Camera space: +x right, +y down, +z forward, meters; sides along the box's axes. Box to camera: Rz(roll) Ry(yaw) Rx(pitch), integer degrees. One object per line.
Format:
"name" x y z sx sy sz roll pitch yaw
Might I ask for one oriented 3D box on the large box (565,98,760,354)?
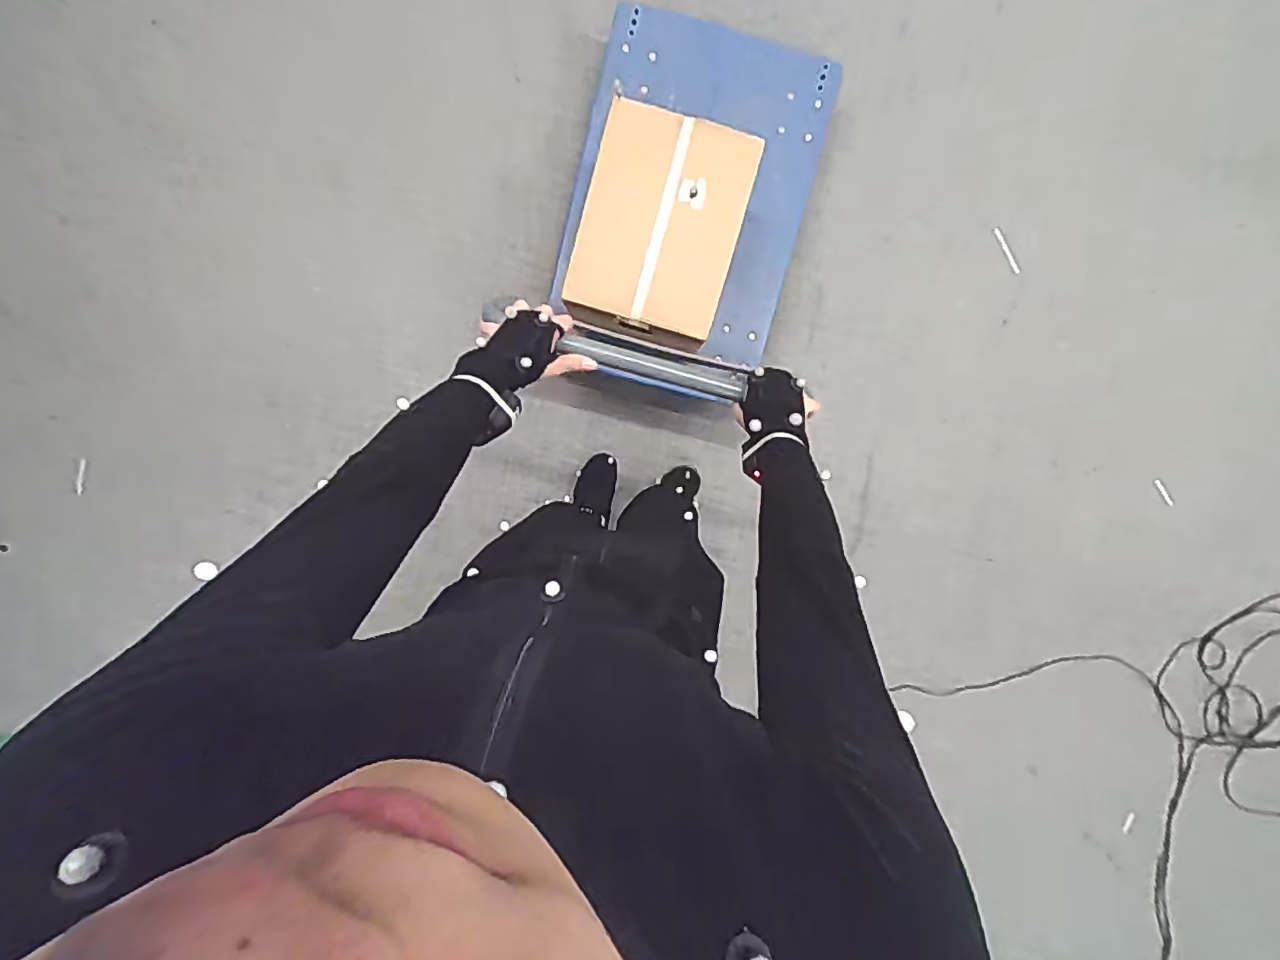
"large box" 0.042 -0.536 1.229 0.320 0.320 0.408 16 95 -2
